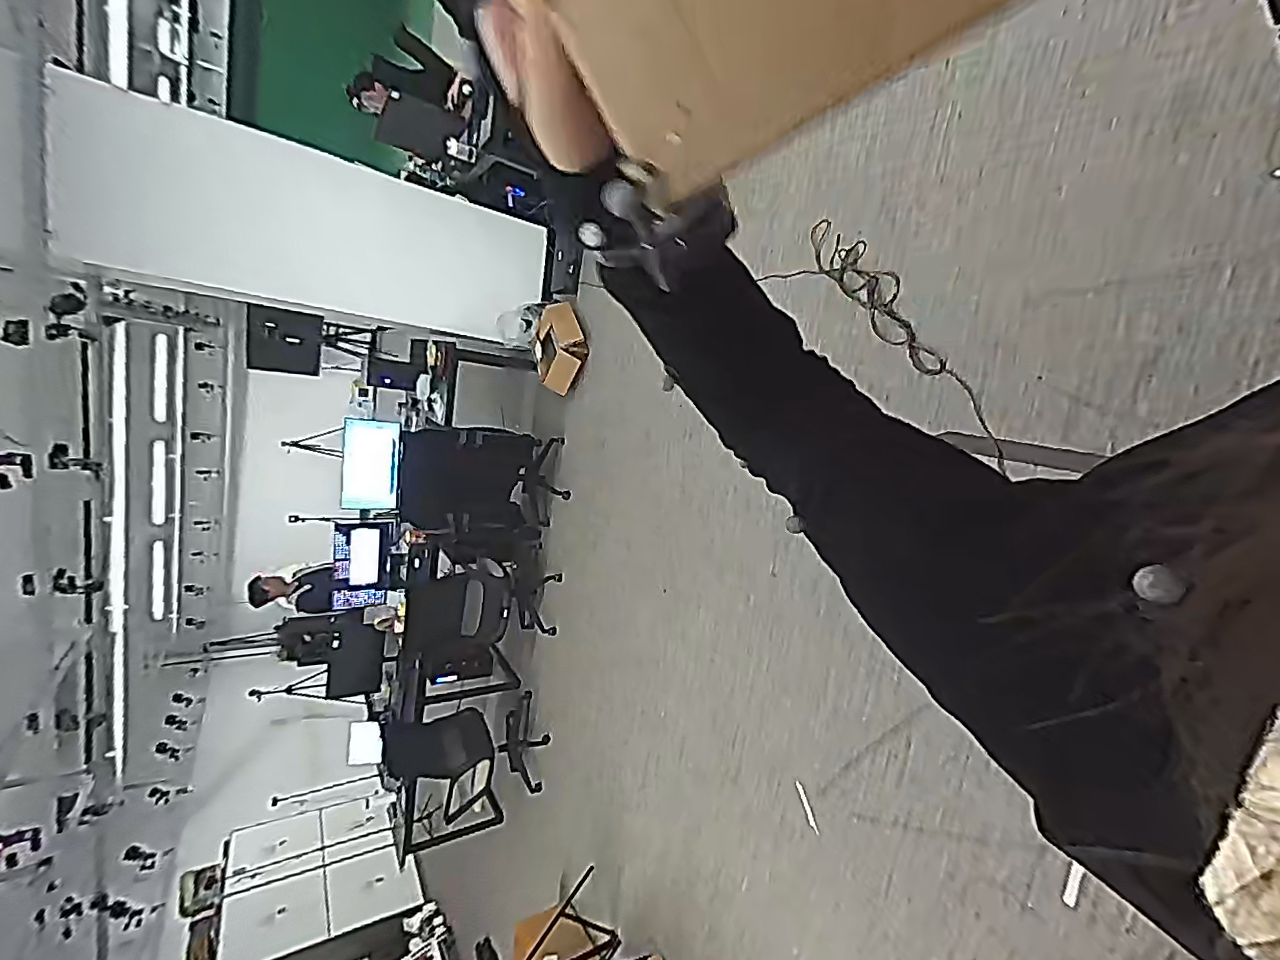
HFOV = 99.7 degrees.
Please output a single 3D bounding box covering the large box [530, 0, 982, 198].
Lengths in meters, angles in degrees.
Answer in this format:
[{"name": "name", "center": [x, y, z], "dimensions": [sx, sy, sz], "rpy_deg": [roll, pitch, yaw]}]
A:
[{"name": "large box", "center": [0.138, -0.331, 0.082], "dimensions": [0.408, 0.320, 0.320], "rpy_deg": [-3, 126, 50]}]
